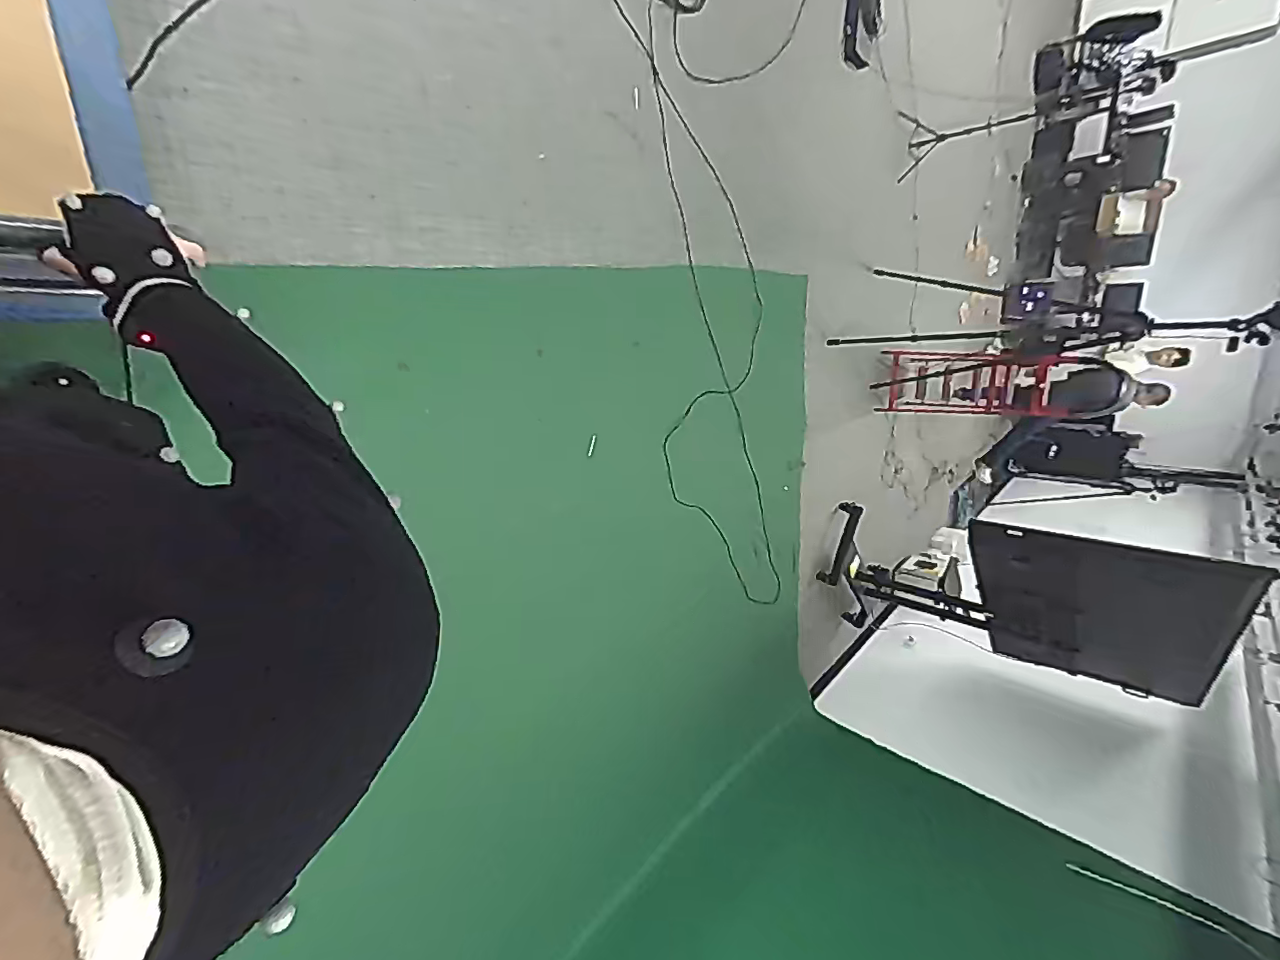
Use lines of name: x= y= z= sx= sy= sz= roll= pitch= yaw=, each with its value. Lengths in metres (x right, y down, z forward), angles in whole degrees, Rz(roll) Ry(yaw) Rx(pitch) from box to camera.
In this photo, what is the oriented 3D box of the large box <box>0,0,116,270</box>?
large box: x=-1.012 y=-0.531 z=0.764 sx=0.320 sy=0.320 sz=0.408 roll=-17 pitch=110 yaw=-44
